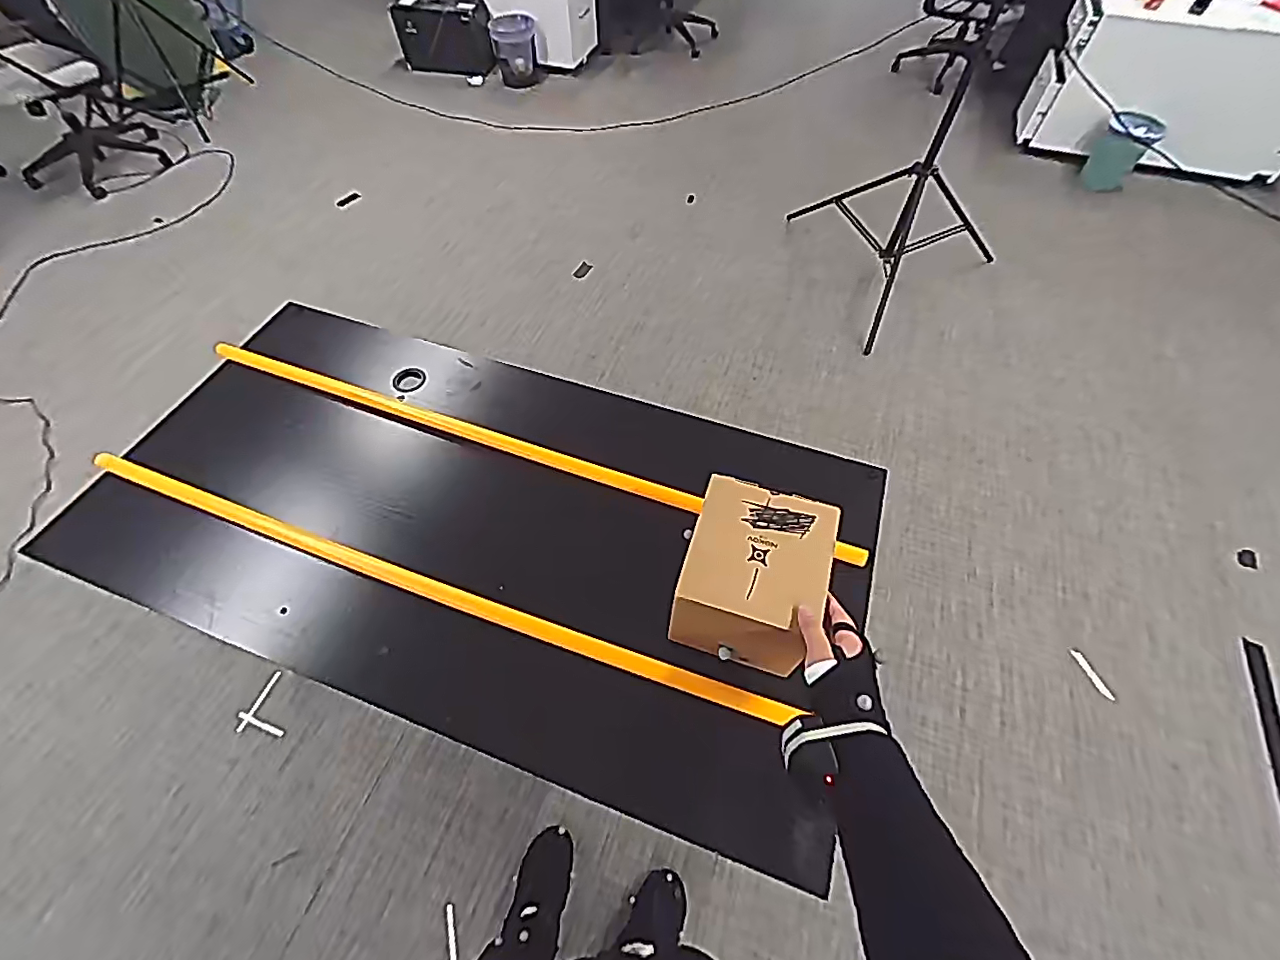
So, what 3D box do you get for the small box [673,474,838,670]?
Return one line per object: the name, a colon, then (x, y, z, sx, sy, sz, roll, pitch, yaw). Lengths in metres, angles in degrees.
small box: (0.144, 0.125, 0.712, 0.168, 0.176, 0.179, 15, 58, 10)
